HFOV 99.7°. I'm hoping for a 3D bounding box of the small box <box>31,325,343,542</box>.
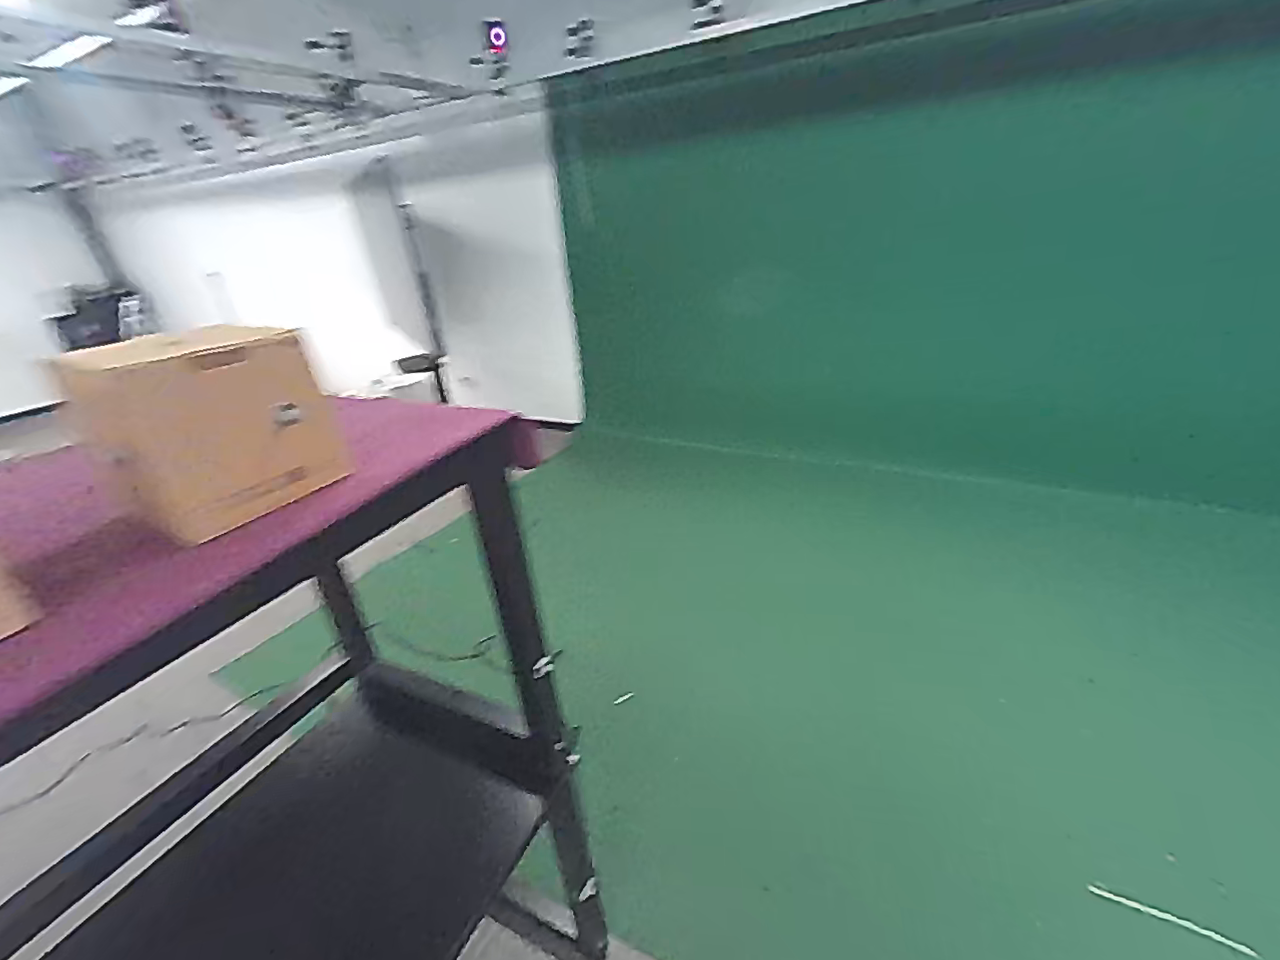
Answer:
[{"bbox_3d":[-0.446,-0.055,0.556,0.179,0.176,0.168,11,30,30],"label":"small box"}]
